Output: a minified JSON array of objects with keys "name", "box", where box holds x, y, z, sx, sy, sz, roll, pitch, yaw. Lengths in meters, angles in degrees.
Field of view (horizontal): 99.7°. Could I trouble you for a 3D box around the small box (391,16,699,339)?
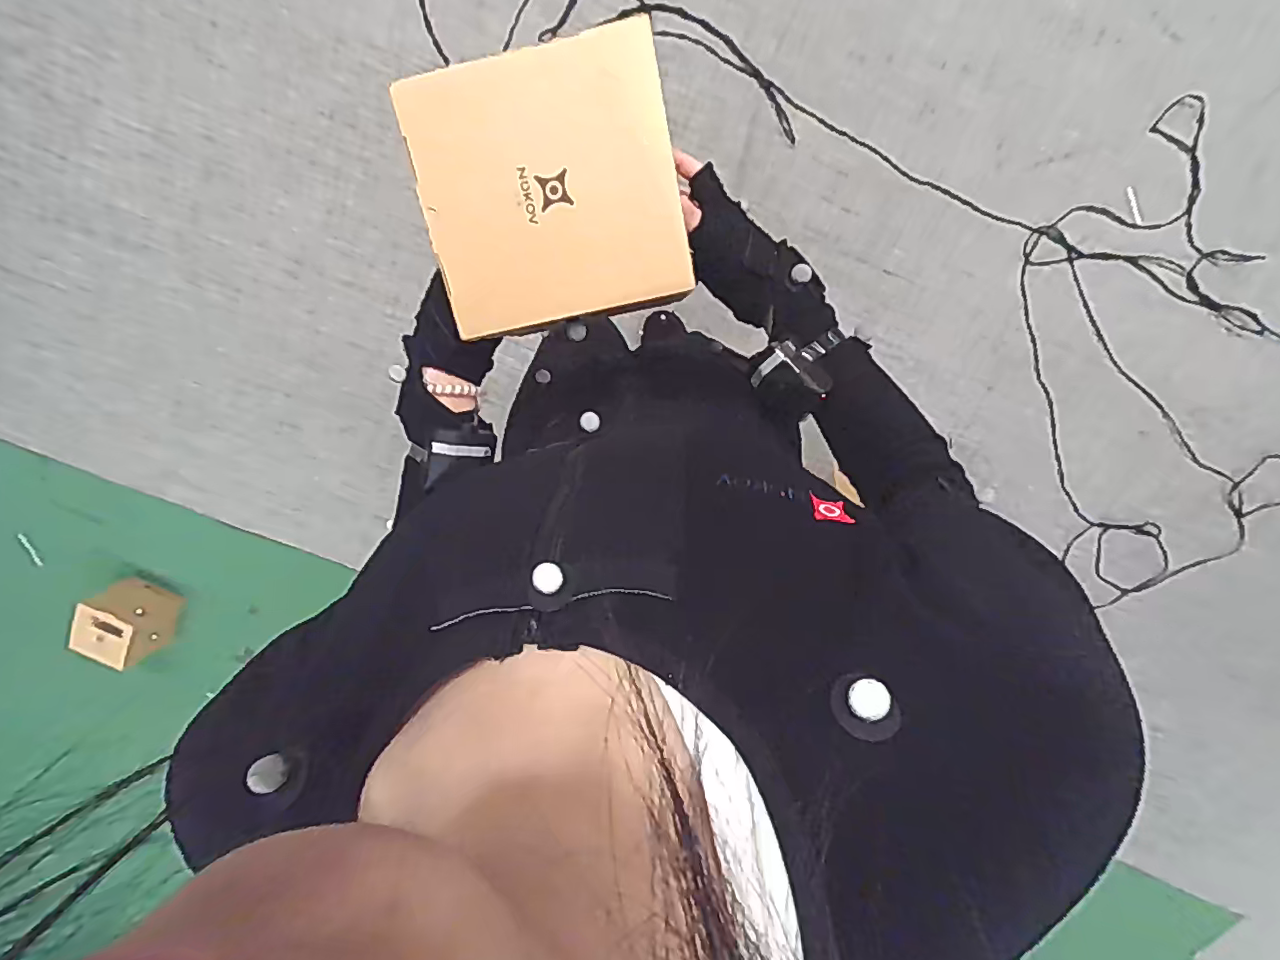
[{"name":"small box","box":[-0.057,-0.216,0.435,0.179,0.176,0.168,-11,106,6]}]
